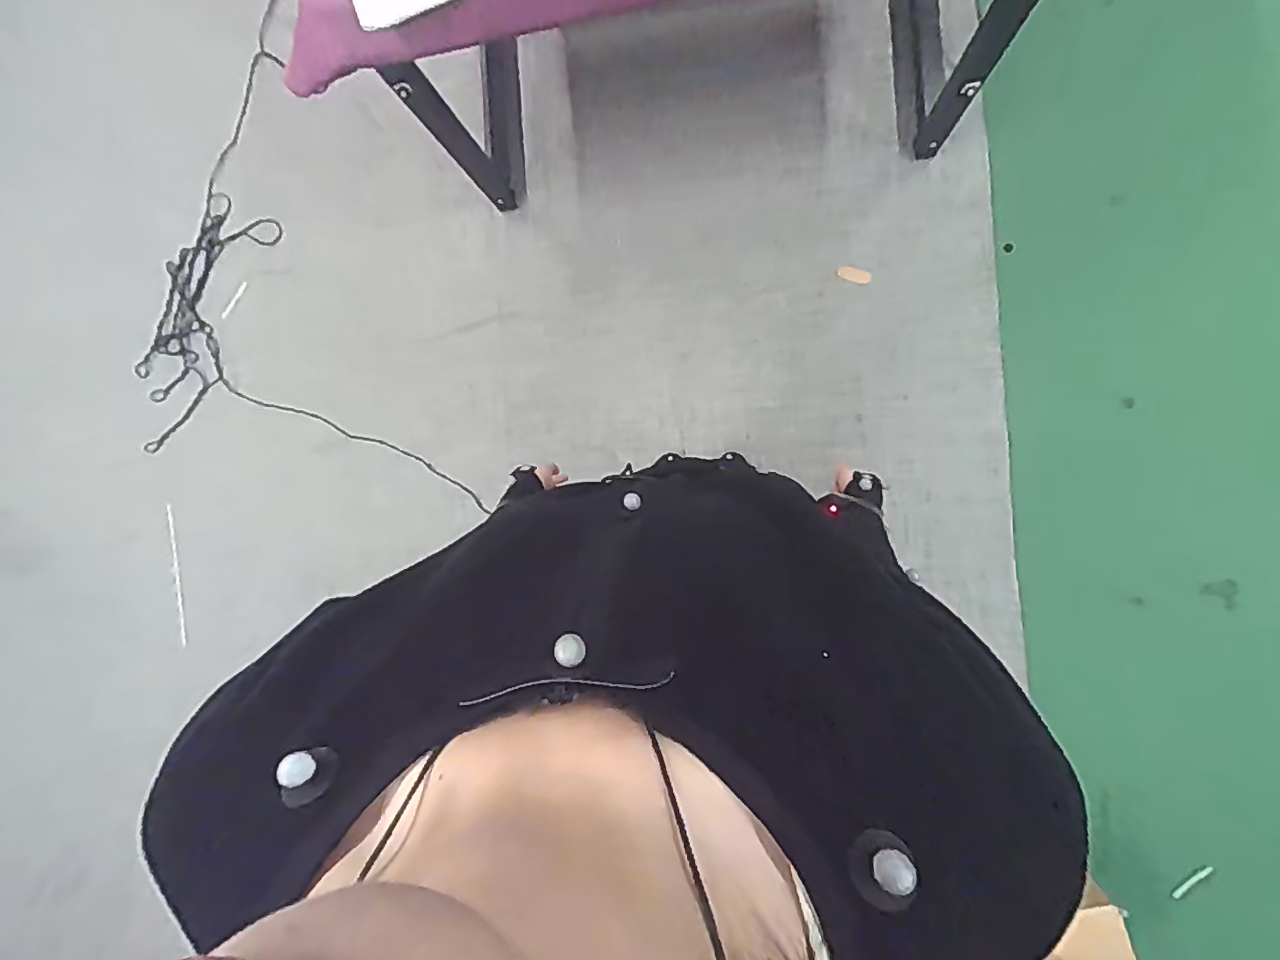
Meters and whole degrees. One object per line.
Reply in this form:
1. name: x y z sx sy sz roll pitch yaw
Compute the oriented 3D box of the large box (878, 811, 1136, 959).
1. large box: 0.845 1.055 1.268 0.408 0.320 0.320 -19 89 8
